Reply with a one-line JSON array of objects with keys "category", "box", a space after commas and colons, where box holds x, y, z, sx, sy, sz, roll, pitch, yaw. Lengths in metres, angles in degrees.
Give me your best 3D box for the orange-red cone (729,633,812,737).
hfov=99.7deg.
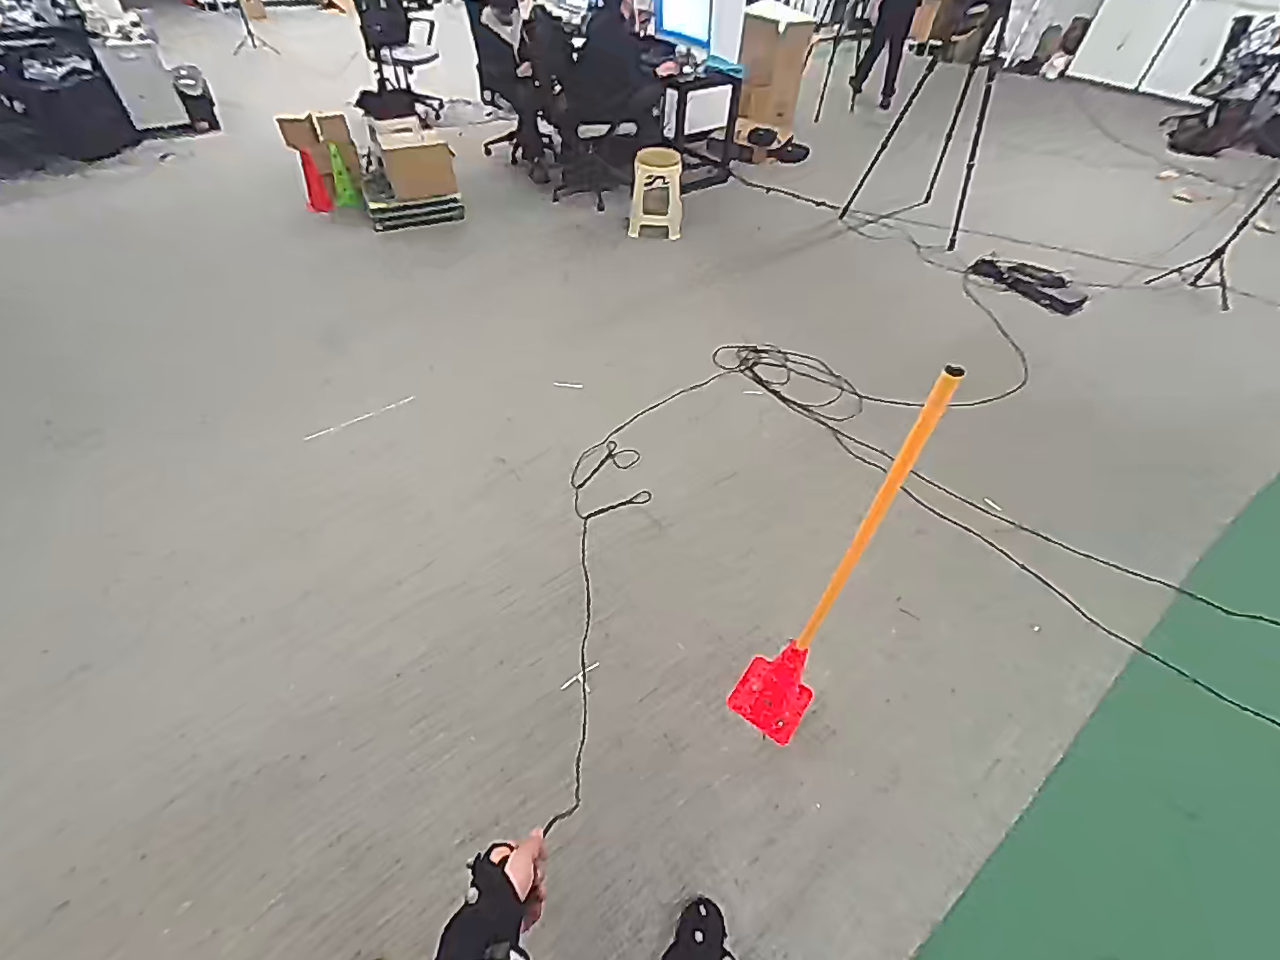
[{"category": "orange-red cone", "box": [0.396, 0.511, 1.470, 0.198, 0.360, 0.199, 32, 53, 22]}]
